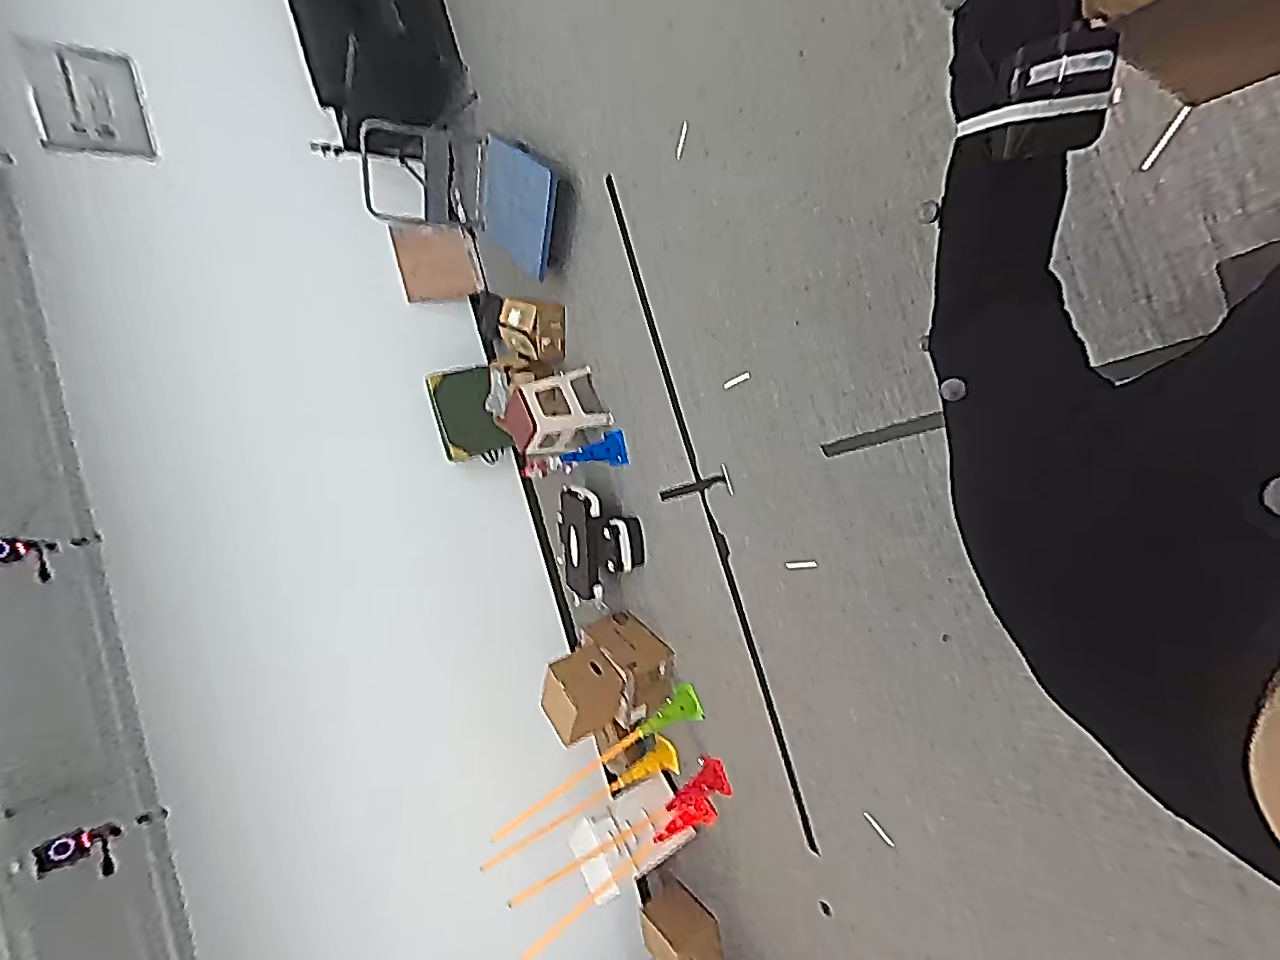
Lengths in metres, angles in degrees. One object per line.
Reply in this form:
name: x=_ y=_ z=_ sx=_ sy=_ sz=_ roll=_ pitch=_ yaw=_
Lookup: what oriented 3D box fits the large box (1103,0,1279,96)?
large box: x=0.491 y=-0.469 z=0.242 sx=0.408 sy=0.320 sz=0.320 roll=1 pitch=105 yaw=54
